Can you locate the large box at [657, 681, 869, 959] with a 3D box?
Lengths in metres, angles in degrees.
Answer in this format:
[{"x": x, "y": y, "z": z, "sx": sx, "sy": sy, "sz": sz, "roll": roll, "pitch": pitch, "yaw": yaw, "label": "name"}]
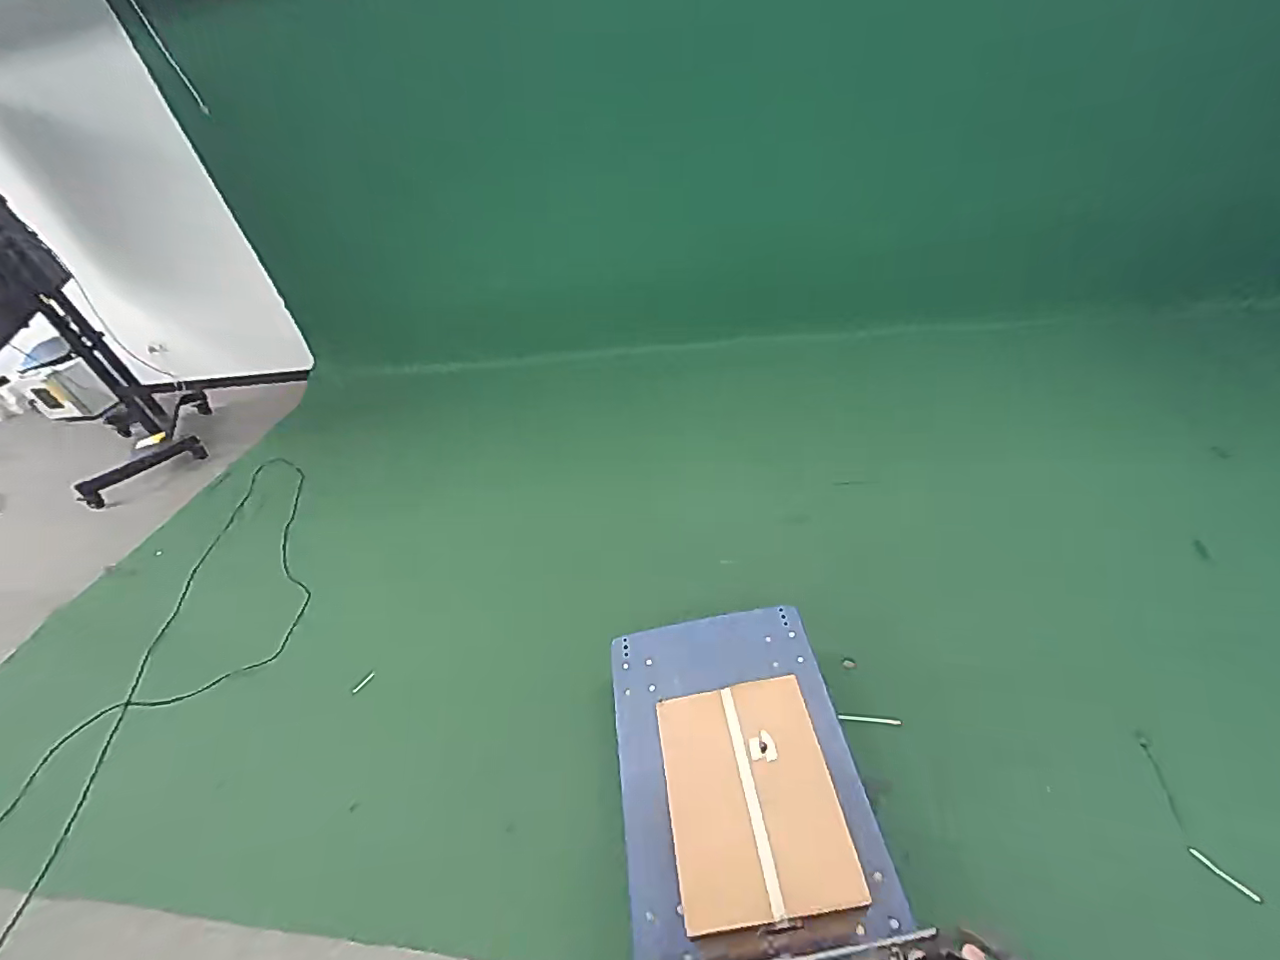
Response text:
[{"x": 0.239, "y": 0.709, "z": 1.138, "sx": 0.320, "sy": 0.320, "sz": 0.408, "roll": -12, "pitch": 42, "yaw": 3, "label": "large box"}]
